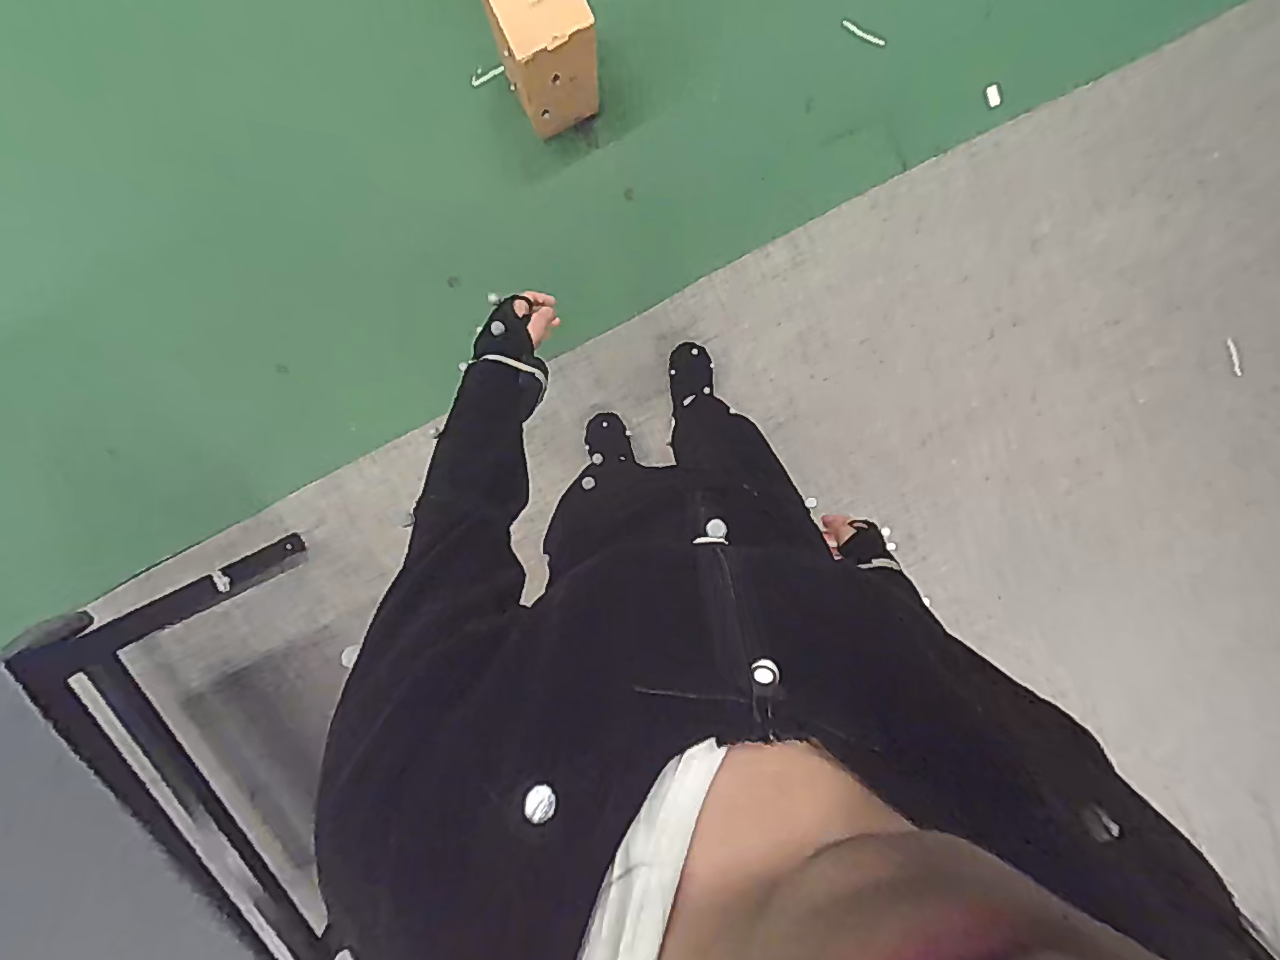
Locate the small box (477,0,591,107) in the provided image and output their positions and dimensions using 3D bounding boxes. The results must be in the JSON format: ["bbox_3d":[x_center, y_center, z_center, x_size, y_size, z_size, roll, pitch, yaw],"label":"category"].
[{"bbox_3d":[-0.210,-0.894,1.066,0.168,0.176,0.179,-28,100,0],"label":"small box"}]
